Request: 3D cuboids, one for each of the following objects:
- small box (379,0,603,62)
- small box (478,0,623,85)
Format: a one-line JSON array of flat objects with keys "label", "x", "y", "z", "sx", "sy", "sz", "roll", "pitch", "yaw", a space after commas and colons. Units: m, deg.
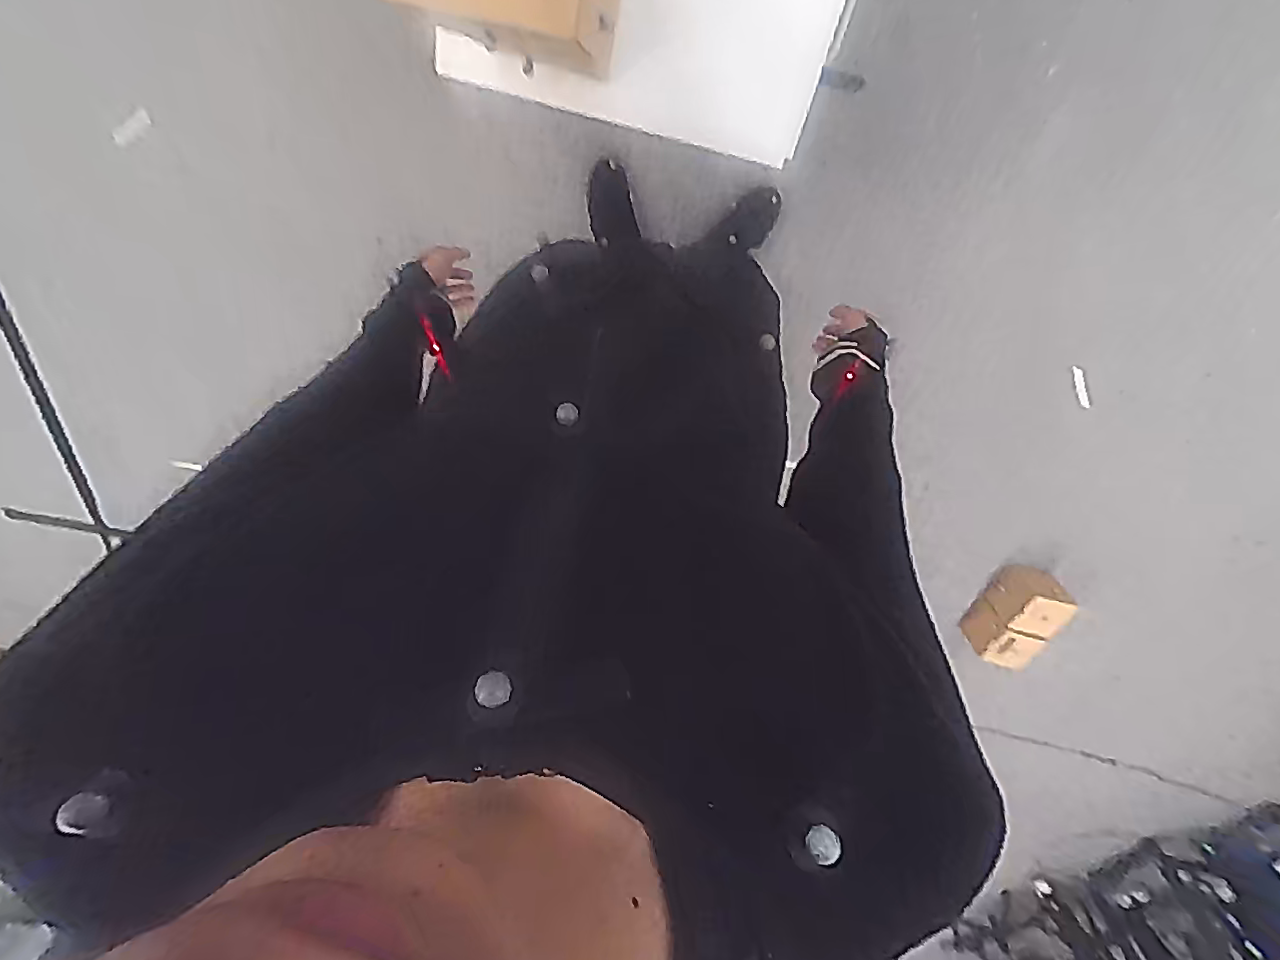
[{"label": "small box", "x": -0.120, "y": -0.499, "z": 0.486, "sx": 0.179, "sy": 0.176, "sz": 0.168, "roll": 10, "pitch": 122, "yaw": -2}, {"label": "small box", "x": -0.108, "y": -0.587, "z": 0.624, "sx": 0.168, "sy": 0.176, "sz": 0.179, "roll": 13, "pitch": 122, "yaw": -6}]
